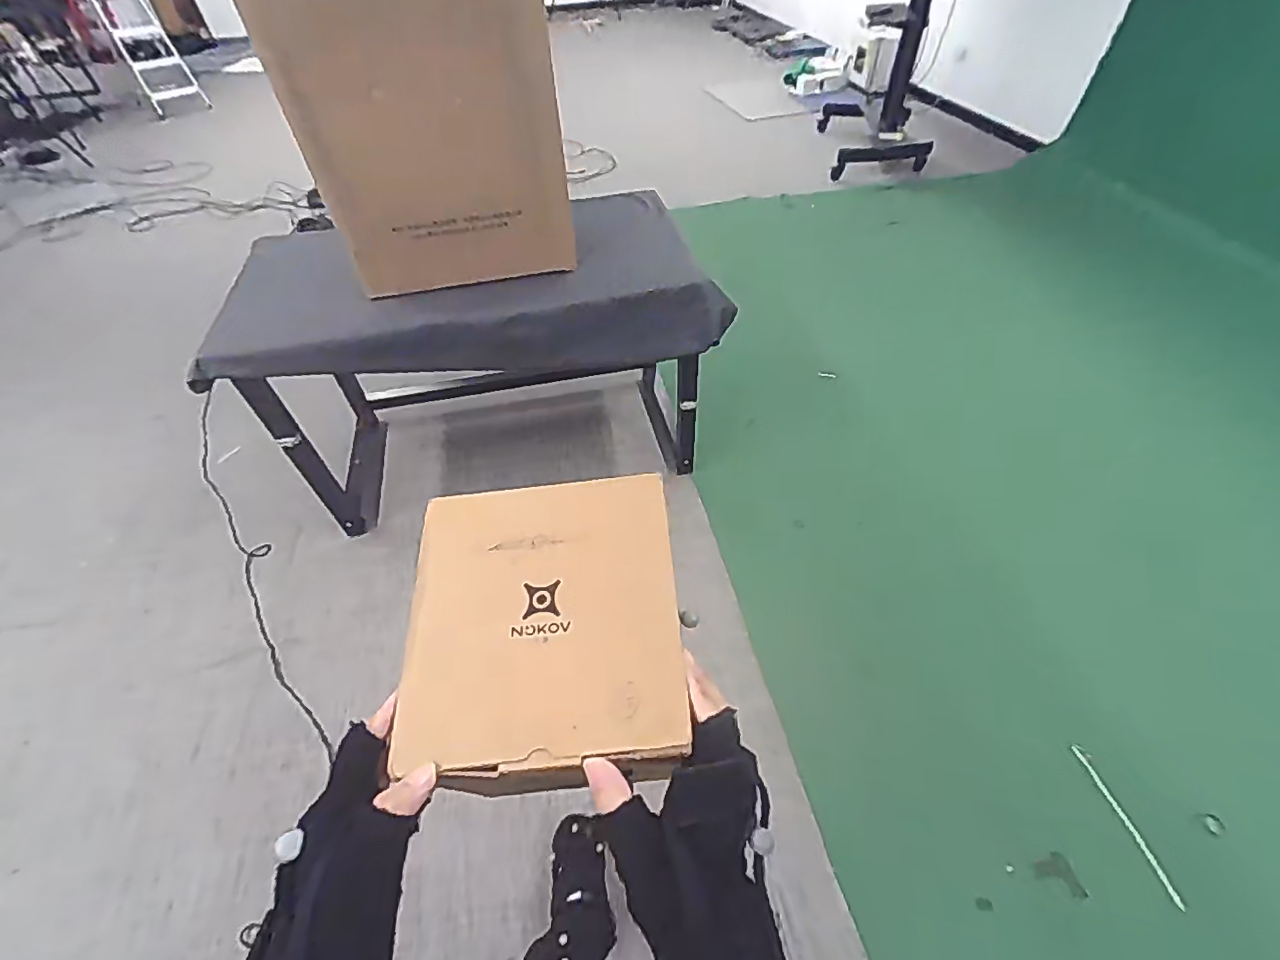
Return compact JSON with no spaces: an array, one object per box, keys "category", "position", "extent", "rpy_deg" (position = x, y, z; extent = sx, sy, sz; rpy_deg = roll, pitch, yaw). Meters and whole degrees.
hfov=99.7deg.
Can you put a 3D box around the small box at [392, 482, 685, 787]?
[{"category":"small box","position":[-0.057,0.125,0.409],"extent":[0.168,0.176,0.179],"rpy_deg":[-6,55,1]}]
